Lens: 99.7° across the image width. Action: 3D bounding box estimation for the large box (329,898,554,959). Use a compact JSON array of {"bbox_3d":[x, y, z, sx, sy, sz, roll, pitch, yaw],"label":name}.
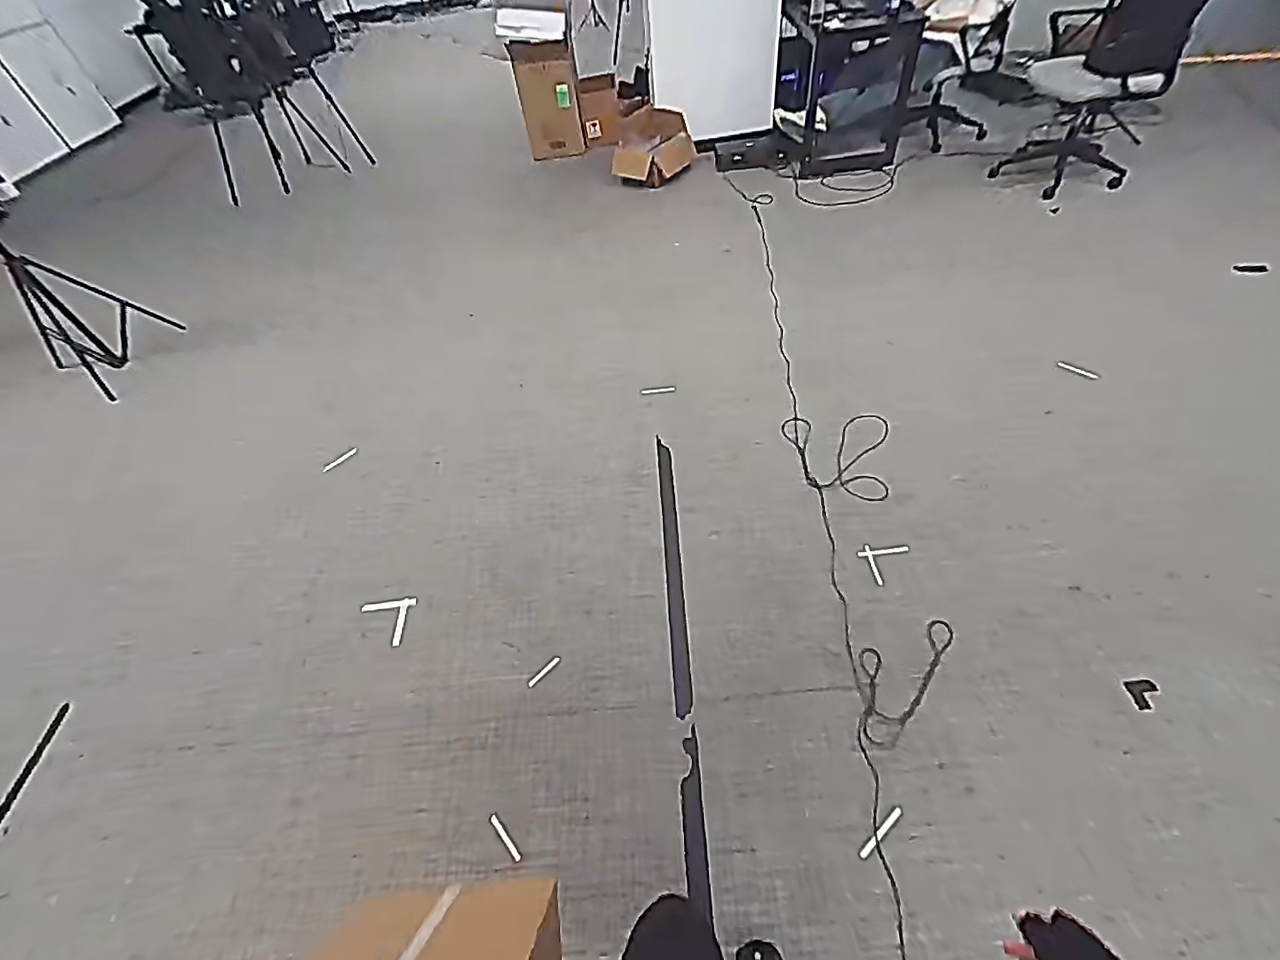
[{"bbox_3d":[-0.275,0.786,0.637,0.320,0.408,0.320,-8,77,0],"label":"large box"}]
